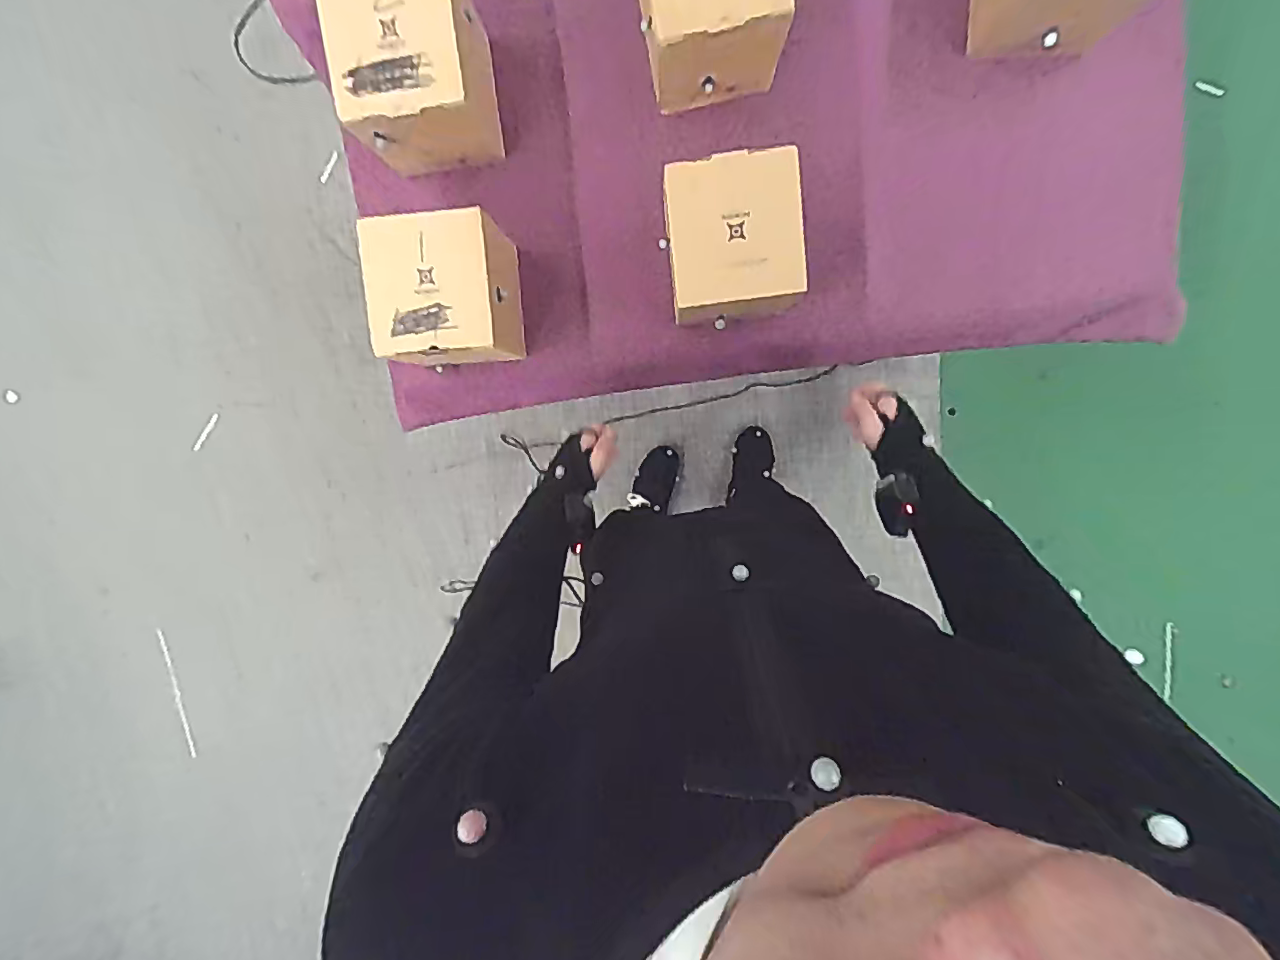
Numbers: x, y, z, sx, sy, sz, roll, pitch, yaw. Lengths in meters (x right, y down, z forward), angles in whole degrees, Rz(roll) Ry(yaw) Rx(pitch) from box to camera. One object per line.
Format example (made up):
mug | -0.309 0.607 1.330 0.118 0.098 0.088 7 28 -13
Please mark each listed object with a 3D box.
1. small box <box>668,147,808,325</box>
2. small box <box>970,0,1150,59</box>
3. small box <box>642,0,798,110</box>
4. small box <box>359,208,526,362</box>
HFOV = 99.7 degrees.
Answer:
small box | 0.126 -0.323 0.750 0.168 0.176 0.179 -5 98 4
small box | 0.542 -0.672 0.673 0.168 0.176 0.179 0 100 4
small box | 0.092 -0.630 0.704 0.168 0.176 0.179 -11 100 4
small box | -0.269 -0.264 0.775 0.168 0.176 0.179 -4 97 3
